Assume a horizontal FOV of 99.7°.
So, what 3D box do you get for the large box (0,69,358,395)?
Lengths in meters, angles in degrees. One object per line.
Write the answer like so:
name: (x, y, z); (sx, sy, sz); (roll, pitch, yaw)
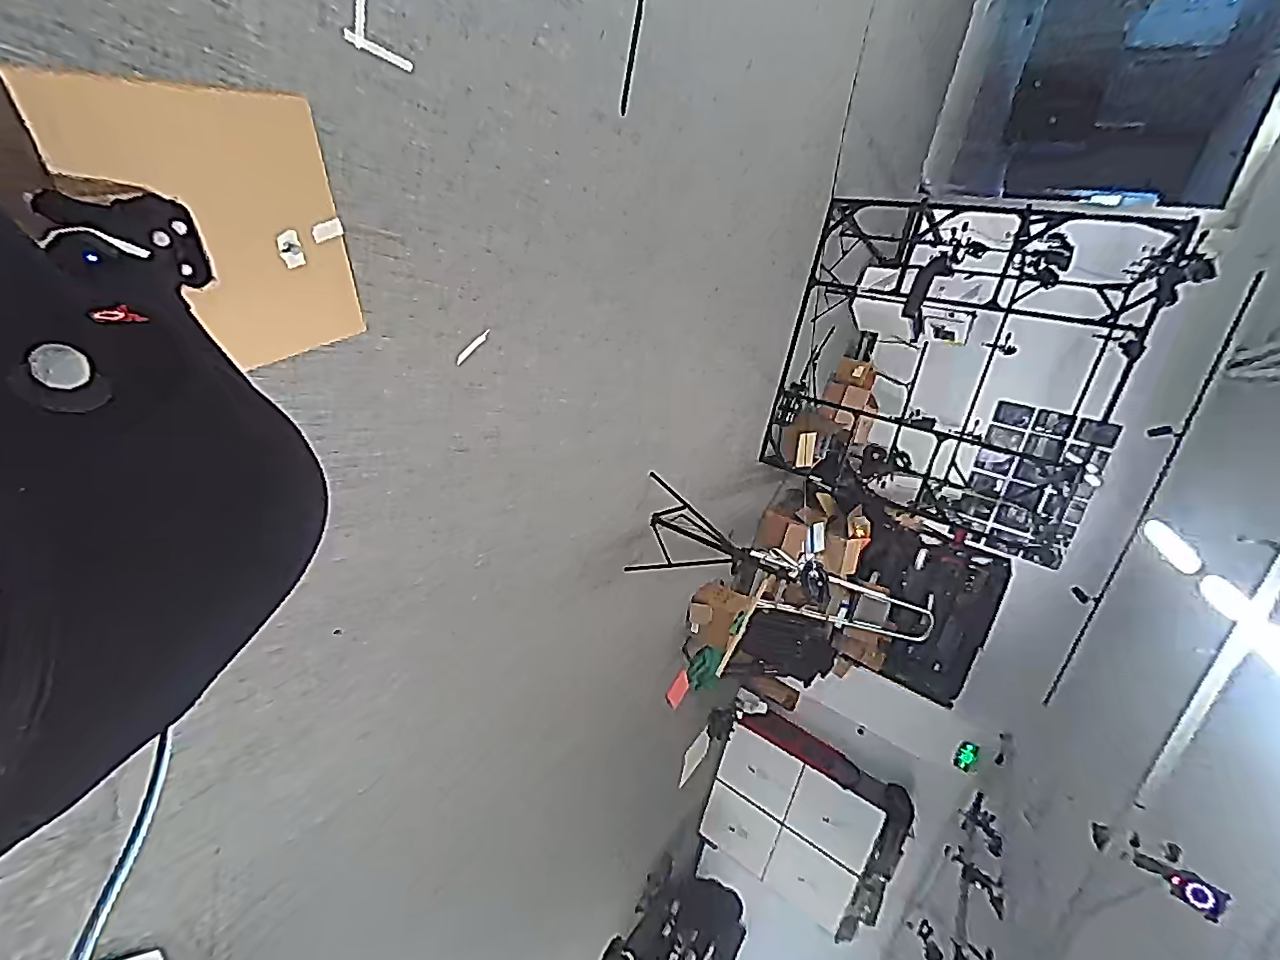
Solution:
large box: (-0.684, -0.336, 0.737); (0.320, 0.408, 0.320); (-49, 146, -53)
